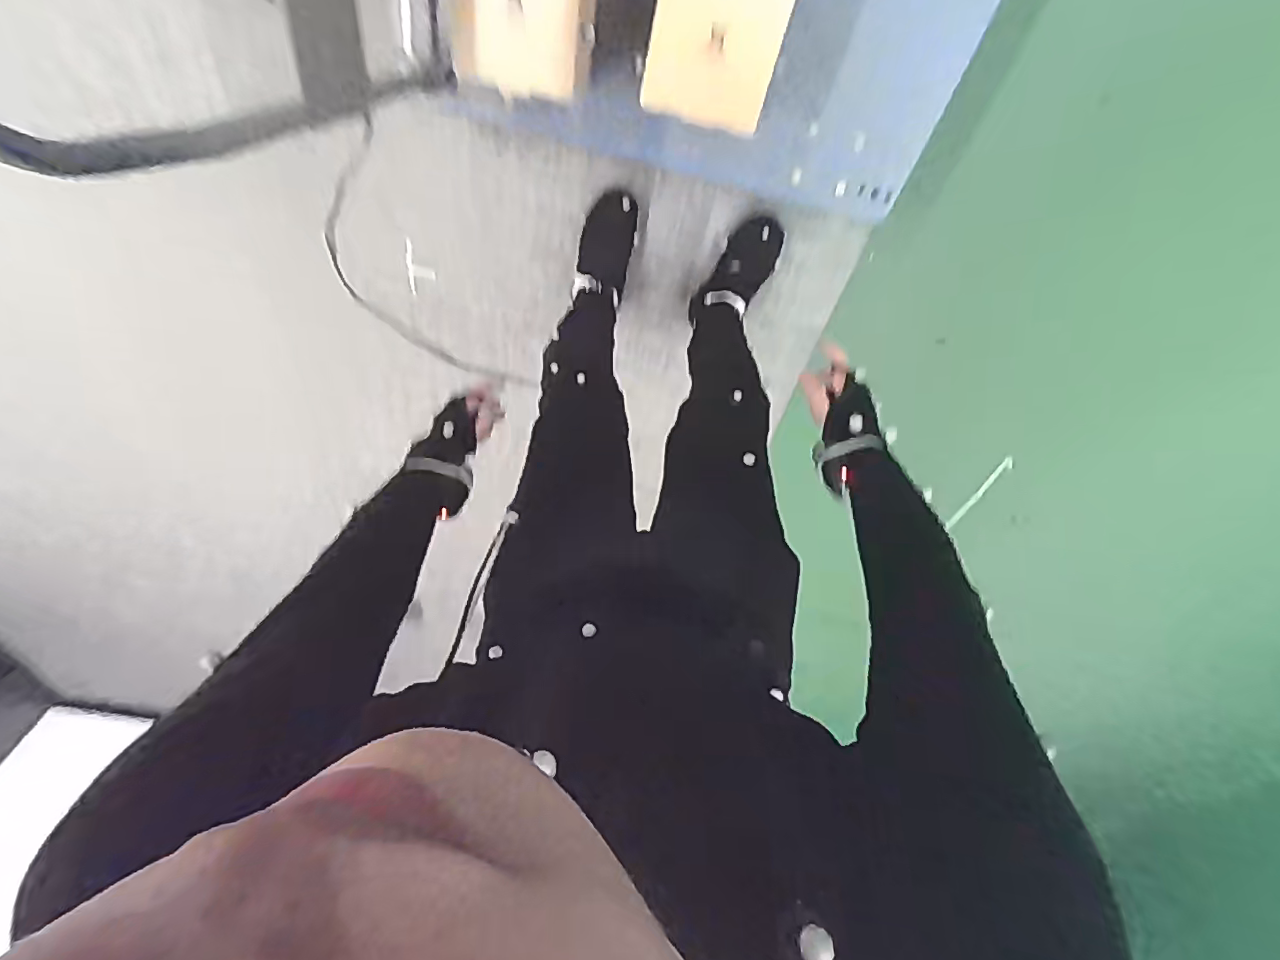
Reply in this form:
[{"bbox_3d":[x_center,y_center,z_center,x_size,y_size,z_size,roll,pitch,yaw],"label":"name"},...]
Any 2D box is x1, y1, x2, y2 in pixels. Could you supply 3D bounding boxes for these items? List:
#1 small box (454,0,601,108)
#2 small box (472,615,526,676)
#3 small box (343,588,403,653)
[{"bbox_3d":[-0.148,-0.646,0.744,0.168,0.176,0.179,11,133,-3],"label":"small box"},{"bbox_3d":[-0.582,0.683,2.244,0.179,0.176,0.168,16,131,-8],"label":"small box"},{"bbox_3d":[-1.077,0.569,2.187,0.168,0.176,0.179,19,130,-14],"label":"small box"}]
